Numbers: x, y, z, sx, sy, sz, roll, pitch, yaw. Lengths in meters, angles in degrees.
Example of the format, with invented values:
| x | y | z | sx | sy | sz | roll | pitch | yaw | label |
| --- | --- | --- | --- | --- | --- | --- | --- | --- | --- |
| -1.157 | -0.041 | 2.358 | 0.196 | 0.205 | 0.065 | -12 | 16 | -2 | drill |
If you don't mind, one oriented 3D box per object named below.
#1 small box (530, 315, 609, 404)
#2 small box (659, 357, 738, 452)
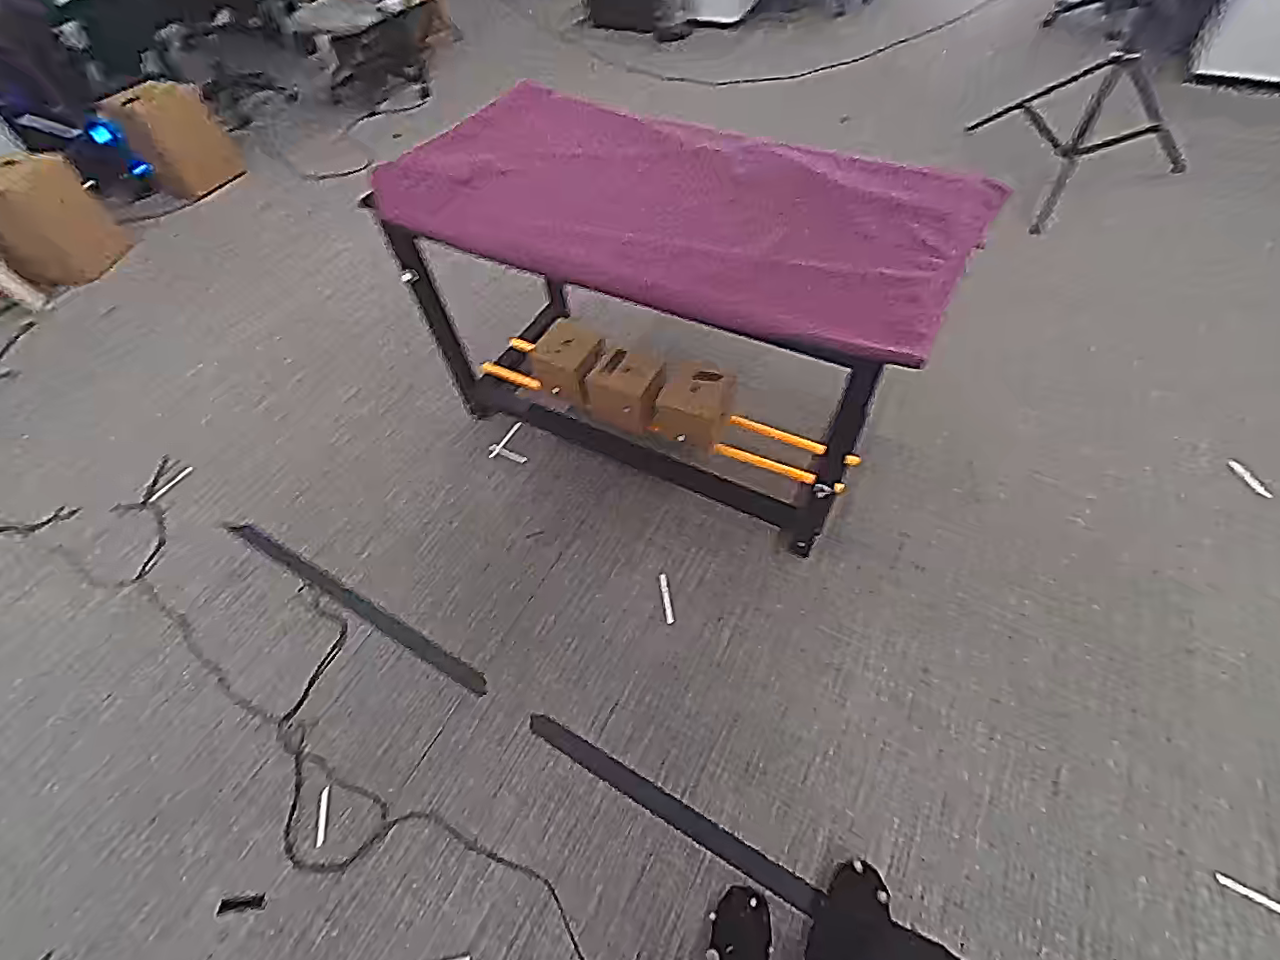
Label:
| x | y | z | sx | sy | sz | roll | pitch | yaw | label |
| --- | --- | --- | --- | --- | --- | --- | --- | --- | --- |
| -0.208 | -0.370 | 1.666 | 0.168 | 0.176 | 0.179 | 23 | 63 | 18 | small box |
| 0.165 | -0.213 | 1.531 | 0.168 | 0.176 | 0.179 | 21 | 63 | 19 | small box |
